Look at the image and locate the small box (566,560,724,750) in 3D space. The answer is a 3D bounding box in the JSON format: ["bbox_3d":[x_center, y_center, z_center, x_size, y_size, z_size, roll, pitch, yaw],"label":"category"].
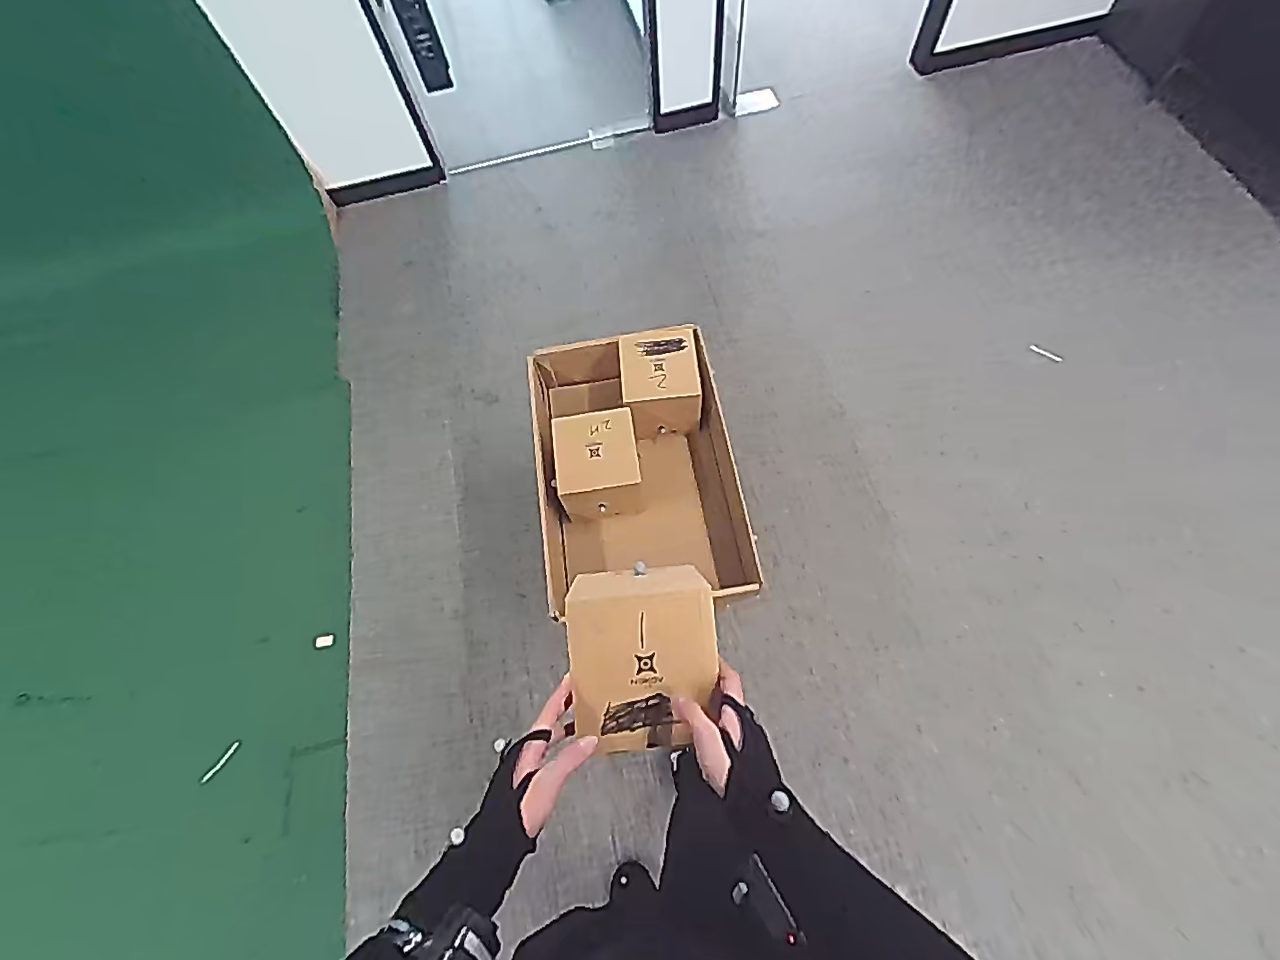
[{"bbox_3d":[0.004,0.203,0.669,0.168,0.176,0.179,-5,89,-2],"label":"small box"}]

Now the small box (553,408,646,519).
[{"bbox_3d":[-0.081,-0.026,1.137,0.168,0.176,0.179,-9,66,0],"label":"small box"}]
